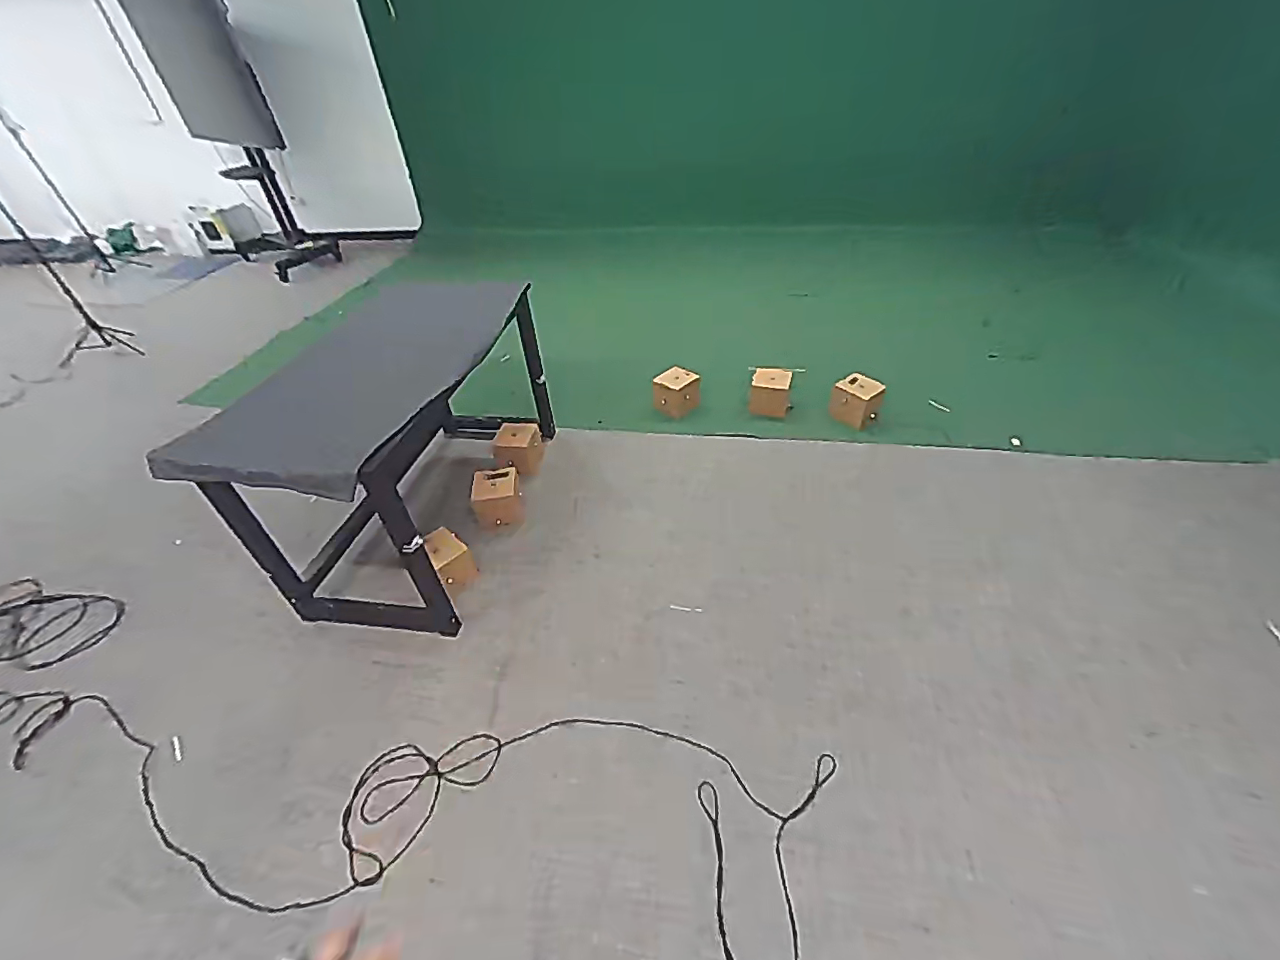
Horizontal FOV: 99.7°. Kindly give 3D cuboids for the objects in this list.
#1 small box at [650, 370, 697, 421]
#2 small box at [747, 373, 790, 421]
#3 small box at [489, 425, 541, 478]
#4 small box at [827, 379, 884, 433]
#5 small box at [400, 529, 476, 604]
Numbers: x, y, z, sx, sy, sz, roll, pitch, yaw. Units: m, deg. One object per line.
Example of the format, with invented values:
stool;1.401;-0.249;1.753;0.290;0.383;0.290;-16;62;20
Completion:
small box;0.174;-0.420;2.712;0.168;0.176;0.179;30;51;34
small box;0.630;-0.406;2.655;0.179;0.176;0.168;11;43;15
small box;-0.553;-0.127;2.421;0.168;0.176;0.179;4;40;8
small box;1.012;-0.349;2.553;0.168;0.176;0.179;-29;47;-27
small box;-0.710;0.313;1.918;0.179;0.176;0.168;29;50;34
